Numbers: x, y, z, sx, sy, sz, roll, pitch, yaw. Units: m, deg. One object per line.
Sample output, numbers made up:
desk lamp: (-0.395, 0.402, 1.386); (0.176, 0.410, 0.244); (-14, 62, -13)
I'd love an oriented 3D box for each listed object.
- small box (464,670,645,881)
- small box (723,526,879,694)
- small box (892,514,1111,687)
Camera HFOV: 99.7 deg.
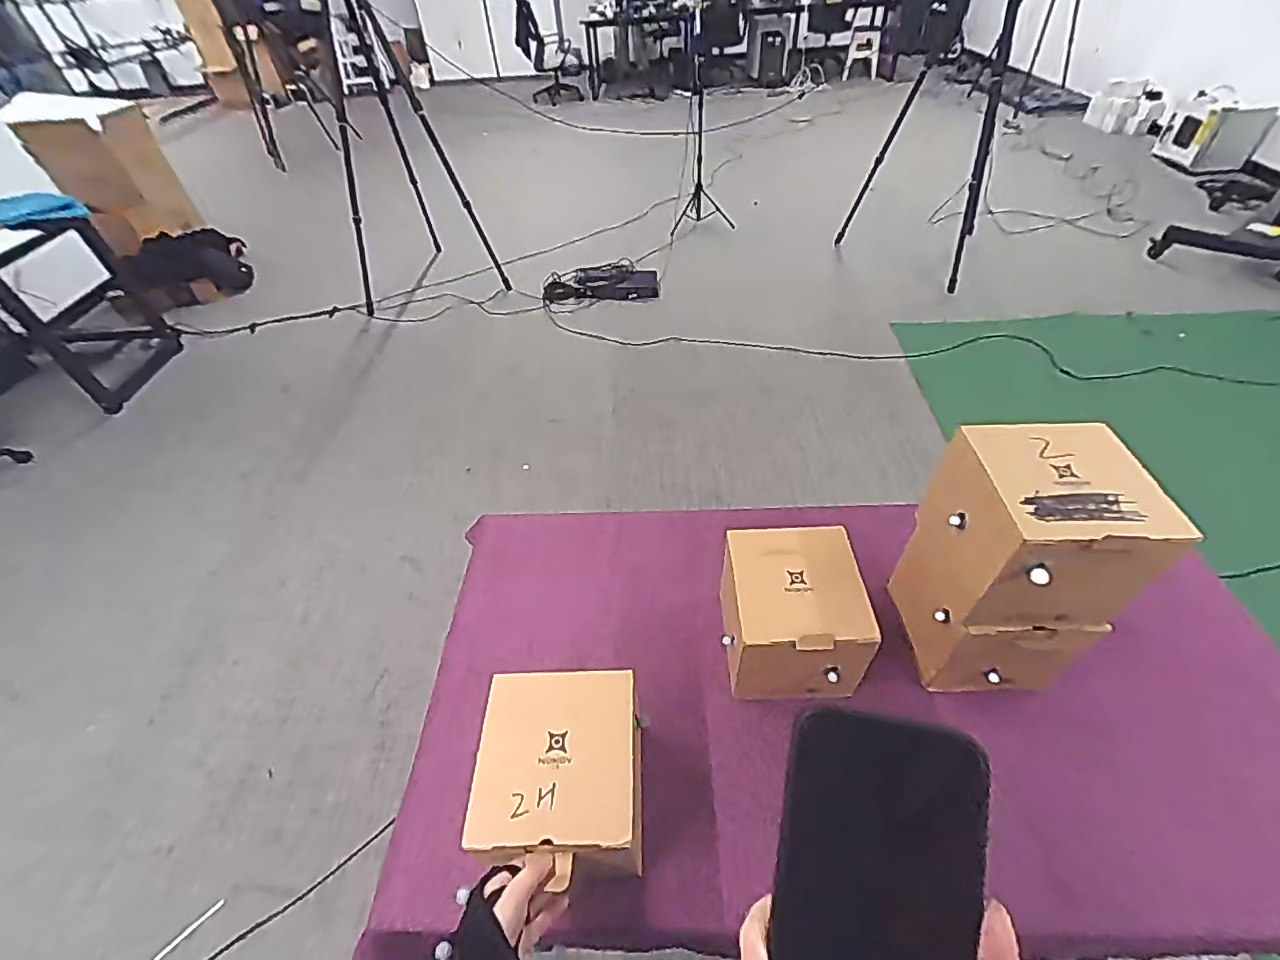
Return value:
small box: (-0.082, 0.341, 0.626); (0.168, 0.176, 0.179); (-3, 46, 3)
small box: (0.209, 0.186, 0.754); (0.168, 0.176, 0.179); (-2, 46, 2)
small box: (0.473, 0.167, 0.748); (0.168, 0.176, 0.179); (-3, 47, 3)
